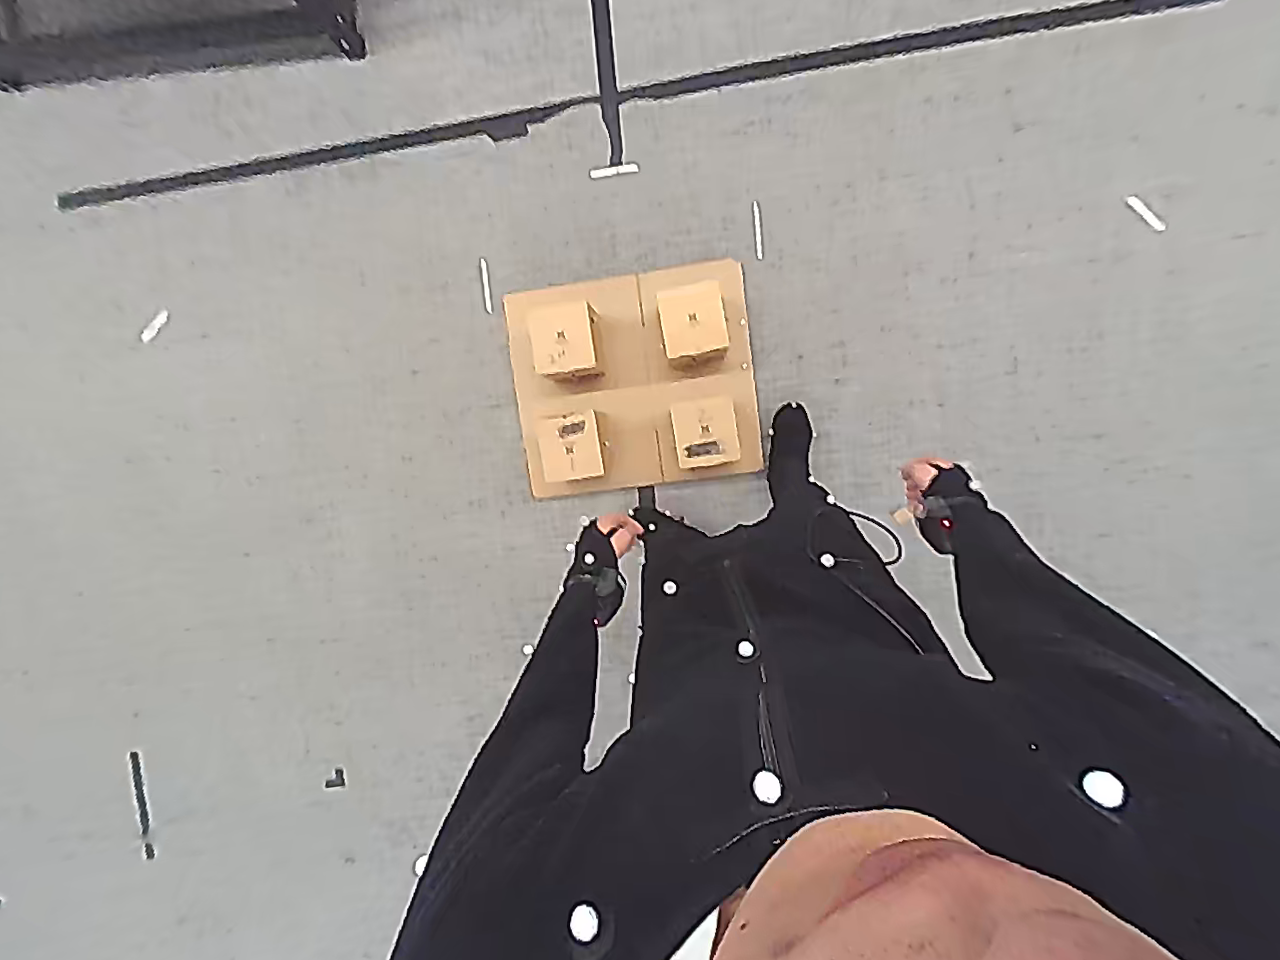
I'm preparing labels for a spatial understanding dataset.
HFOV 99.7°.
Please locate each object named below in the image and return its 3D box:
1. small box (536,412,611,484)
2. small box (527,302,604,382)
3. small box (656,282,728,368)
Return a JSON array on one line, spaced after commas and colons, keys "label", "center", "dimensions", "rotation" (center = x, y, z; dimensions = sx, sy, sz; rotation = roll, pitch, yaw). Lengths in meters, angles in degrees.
[{"label": "small box", "center": [-0.182, -0.092, 1.524], "dimensions": [0.168, 0.176, 0.179], "rotation": [-8, 95, 6]}, {"label": "small box", "center": [-0.201, -0.375, 1.500], "dimensions": [0.168, 0.176, 0.179], "rotation": [-7, 95, 6]}, {"label": "small box", "center": [0.140, -0.415, 1.472], "dimensions": [0.168, 0.176, 0.179], "rotation": [-11, 94, 6]}]
